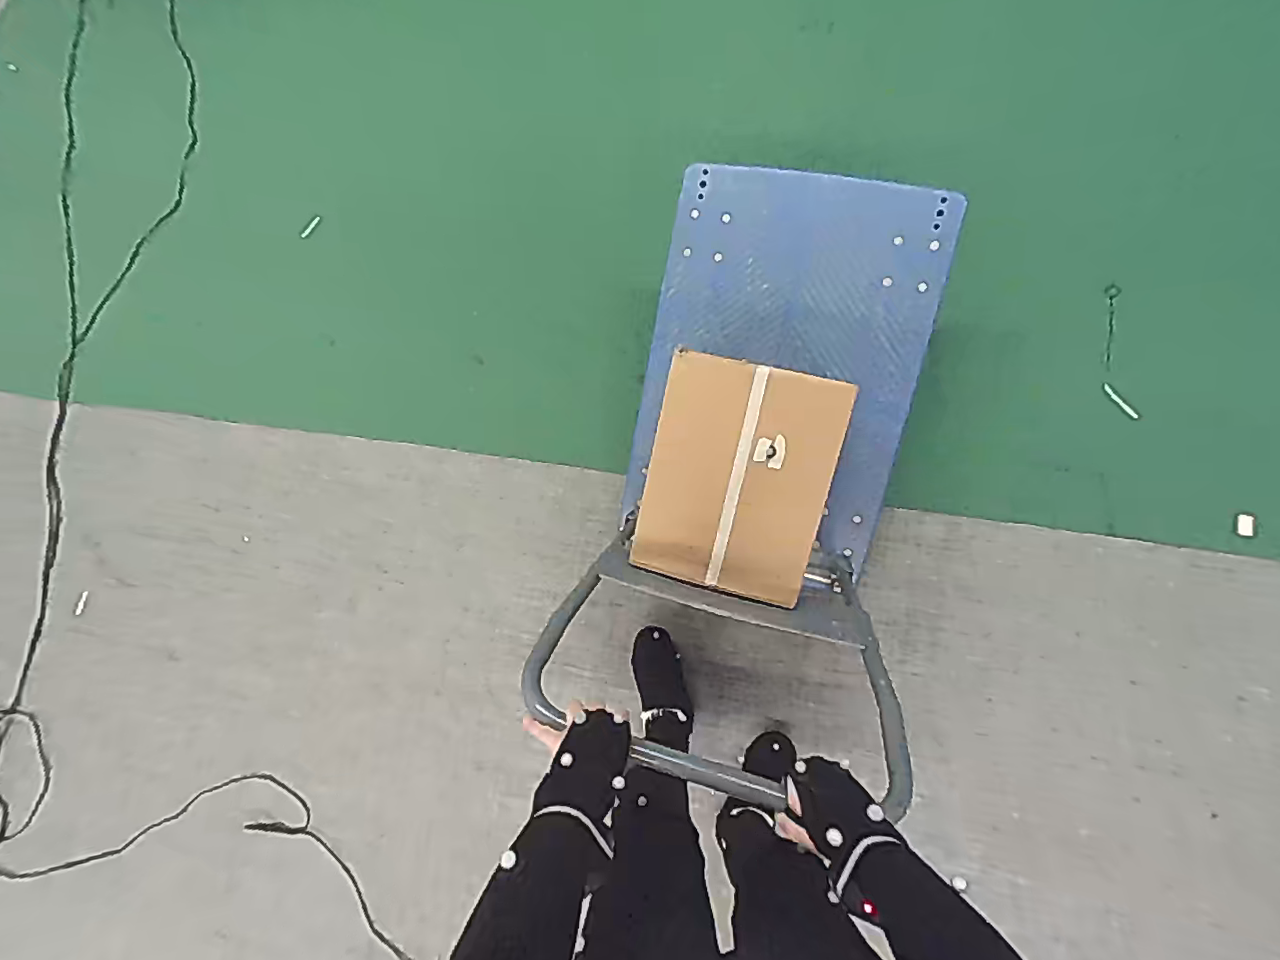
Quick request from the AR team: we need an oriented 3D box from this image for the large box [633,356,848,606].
[{"bbox_3d":[0.199,-0.014,1.104,0.320,0.320,0.408,13,101,10],"label":"large box"}]
